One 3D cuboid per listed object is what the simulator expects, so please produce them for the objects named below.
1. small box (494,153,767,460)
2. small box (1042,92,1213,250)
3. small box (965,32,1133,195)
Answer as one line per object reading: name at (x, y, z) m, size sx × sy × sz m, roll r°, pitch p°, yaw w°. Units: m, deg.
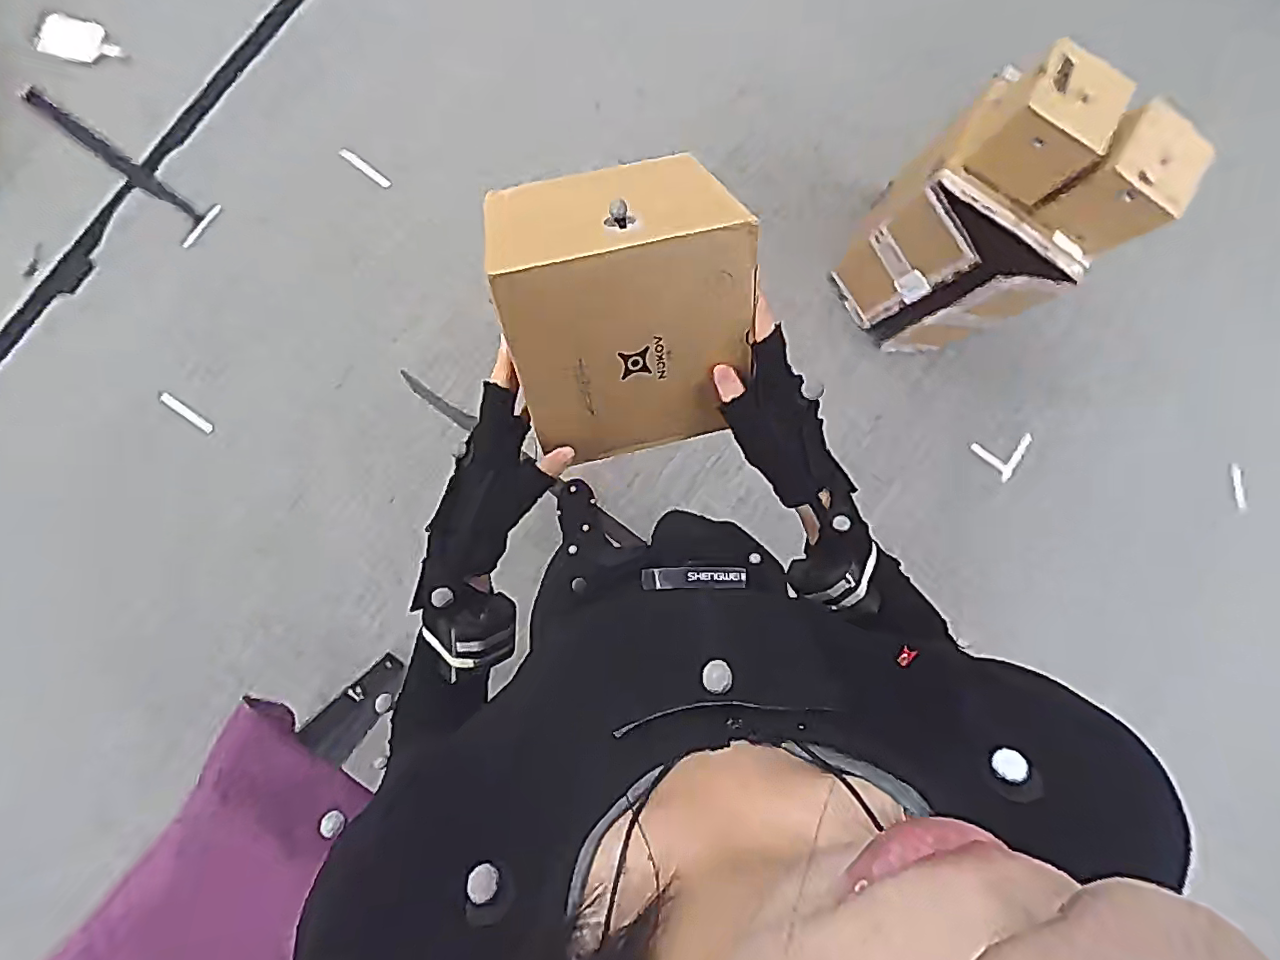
small box at (-0.013, -0.146, 0.441) m, size 0.179 × 0.176 × 0.168 m, roll -12°, pitch 134°, yaw -3°
small box at (0.963, -0.606, 1.084) m, size 0.168 × 0.176 × 0.179 m, roll 32°, pitch 83°, yaw -6°
small box at (0.793, -0.708, 1.067) m, size 0.179 × 0.176 × 0.168 m, roll 29°, pitch 84°, yaw -4°
